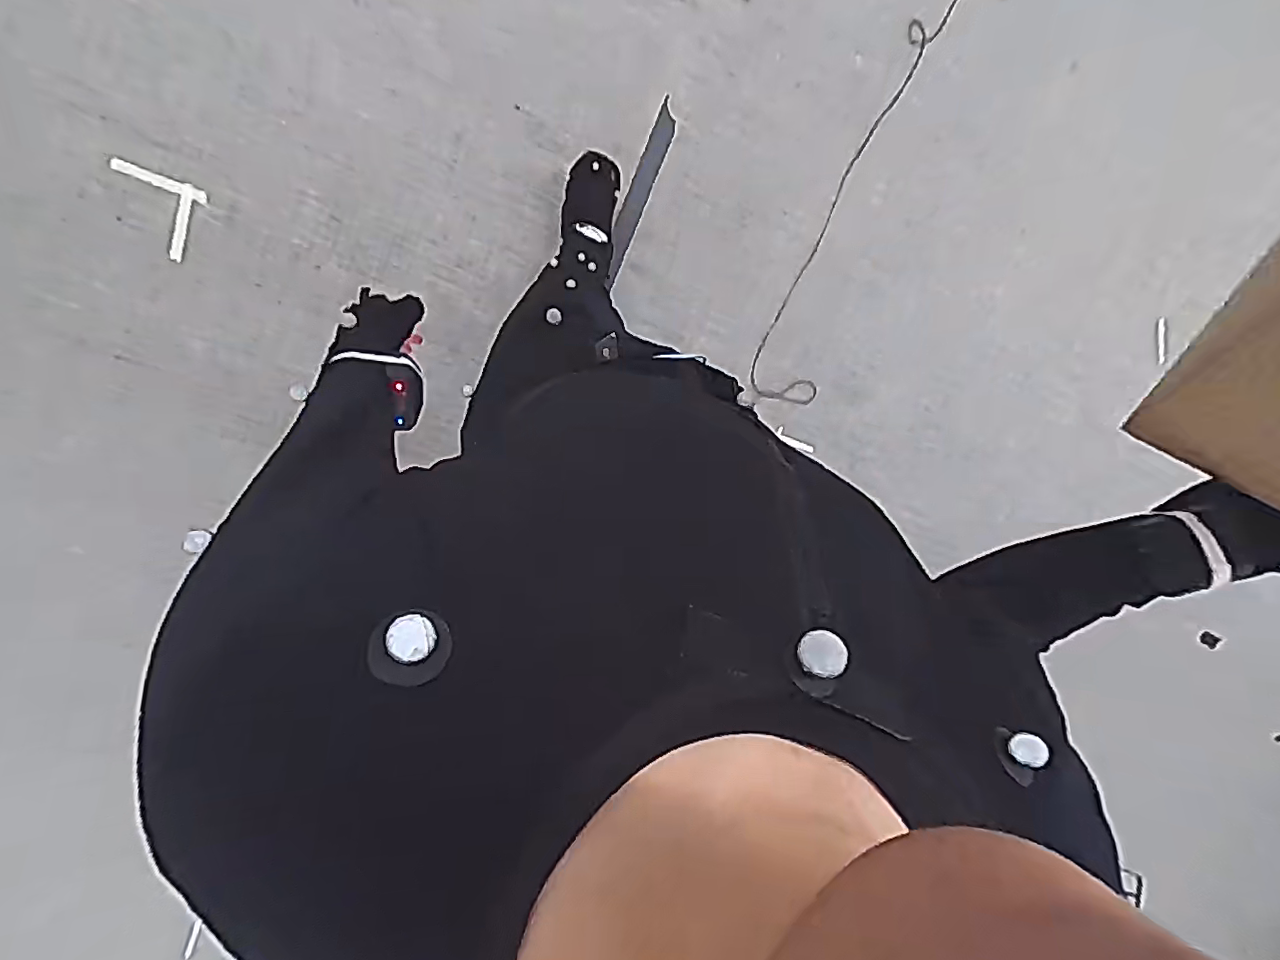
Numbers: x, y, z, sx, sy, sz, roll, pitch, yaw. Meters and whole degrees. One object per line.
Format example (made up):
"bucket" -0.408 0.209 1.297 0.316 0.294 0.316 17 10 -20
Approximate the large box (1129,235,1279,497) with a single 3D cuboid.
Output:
"large box" 0.535 -0.123 0.209 0.320 0.408 0.320 42 98 24
